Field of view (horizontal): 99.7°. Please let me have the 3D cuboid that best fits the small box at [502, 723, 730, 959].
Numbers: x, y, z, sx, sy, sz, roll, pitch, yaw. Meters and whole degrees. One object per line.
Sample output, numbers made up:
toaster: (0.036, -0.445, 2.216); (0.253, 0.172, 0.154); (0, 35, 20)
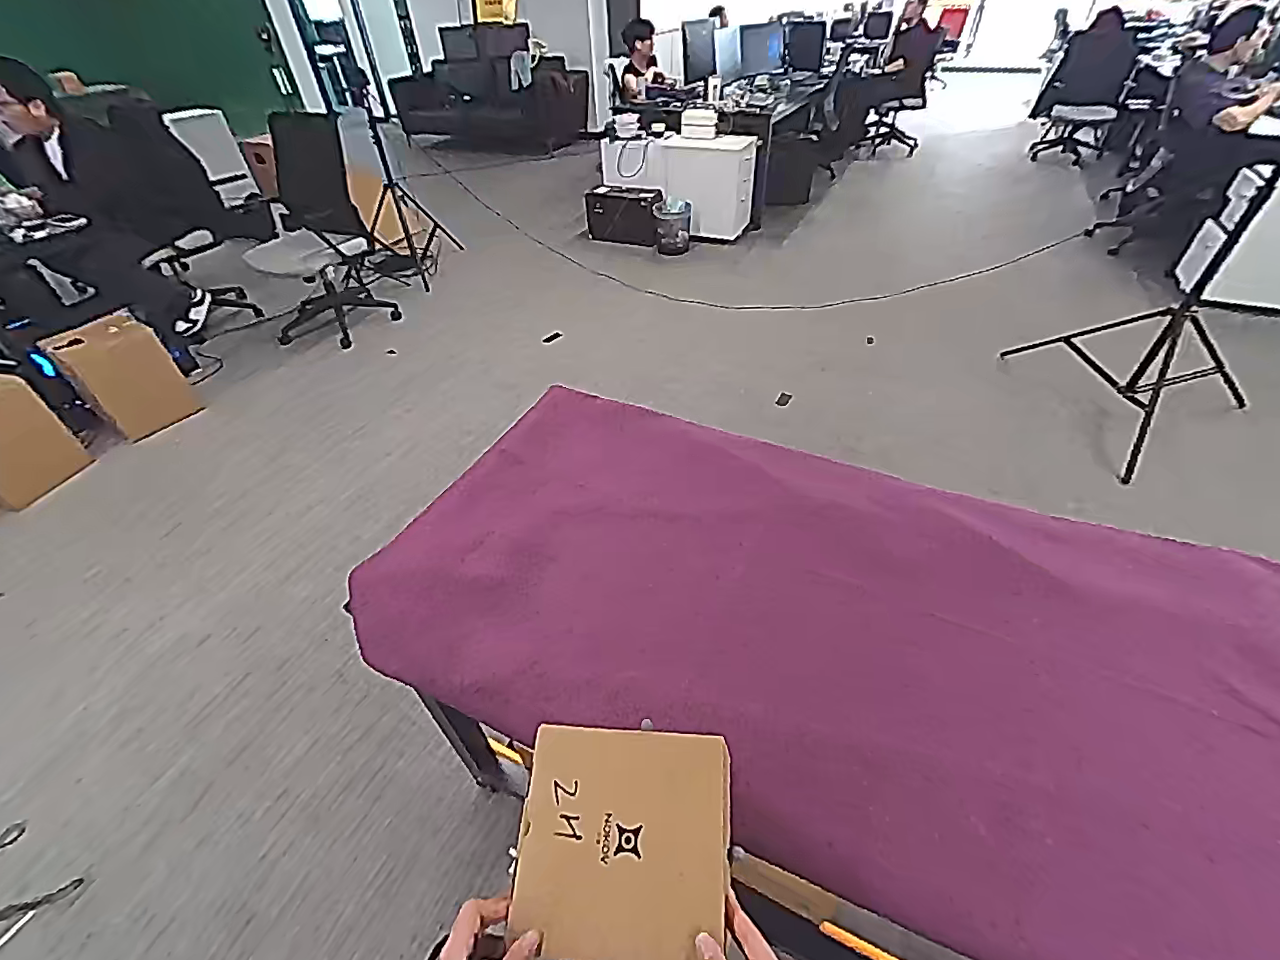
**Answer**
small box: (-0.004, 0.336, 0.512); (0.179, 0.176, 0.168); (-2, 57, 10)
